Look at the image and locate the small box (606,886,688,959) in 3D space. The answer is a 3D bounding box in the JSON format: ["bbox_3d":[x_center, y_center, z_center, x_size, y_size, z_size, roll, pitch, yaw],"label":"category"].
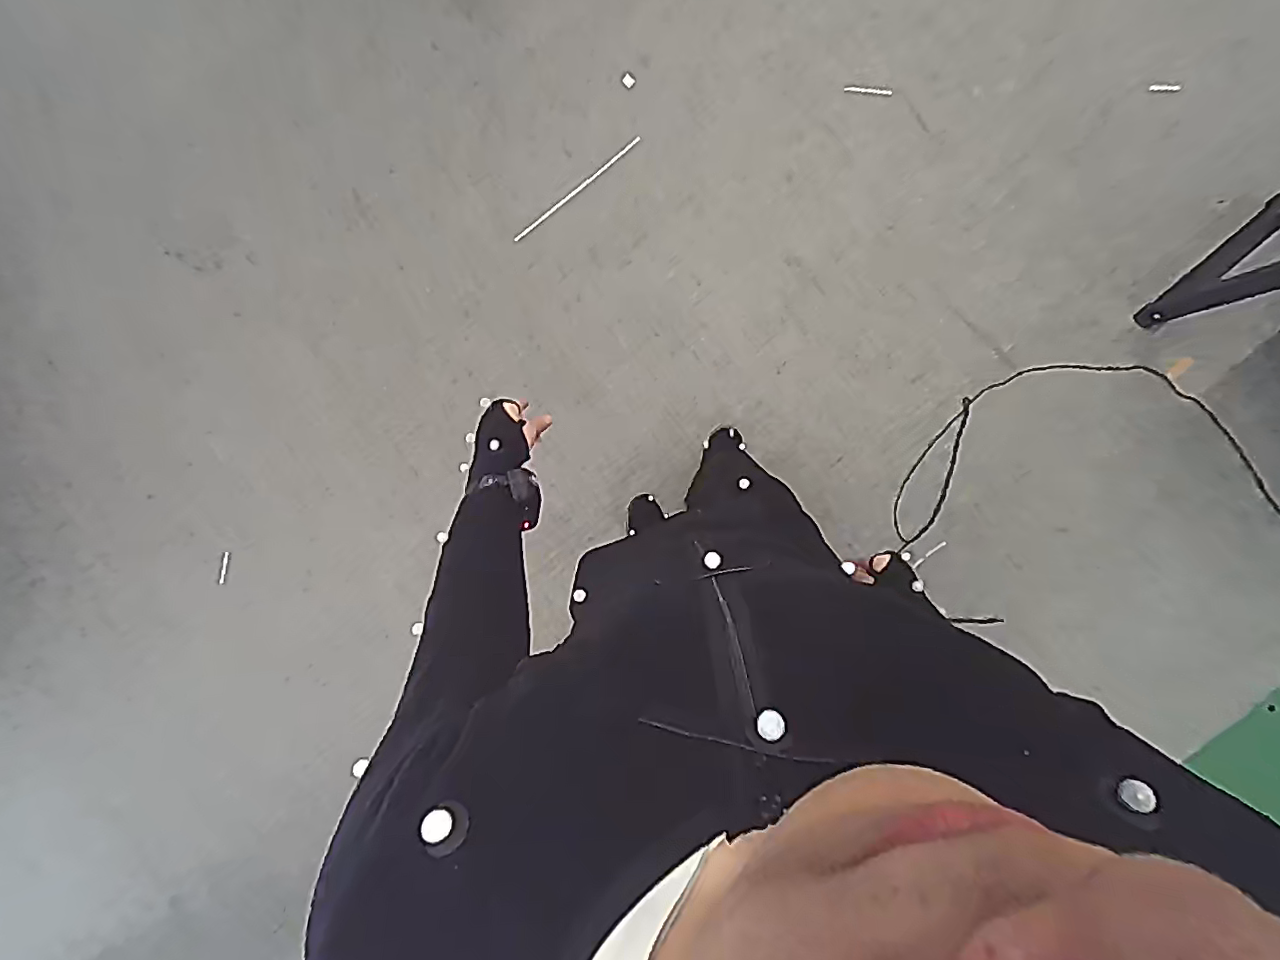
[{"bbox_3d":[0.019,1.297,1.507,0.179,0.176,0.168,-37,90,1],"label":"small box"}]

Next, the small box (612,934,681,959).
[{"bbox_3d":[0.026,1.288,1.343,0.168,0.176,0.179,-37,90,1],"label":"small box"}]
